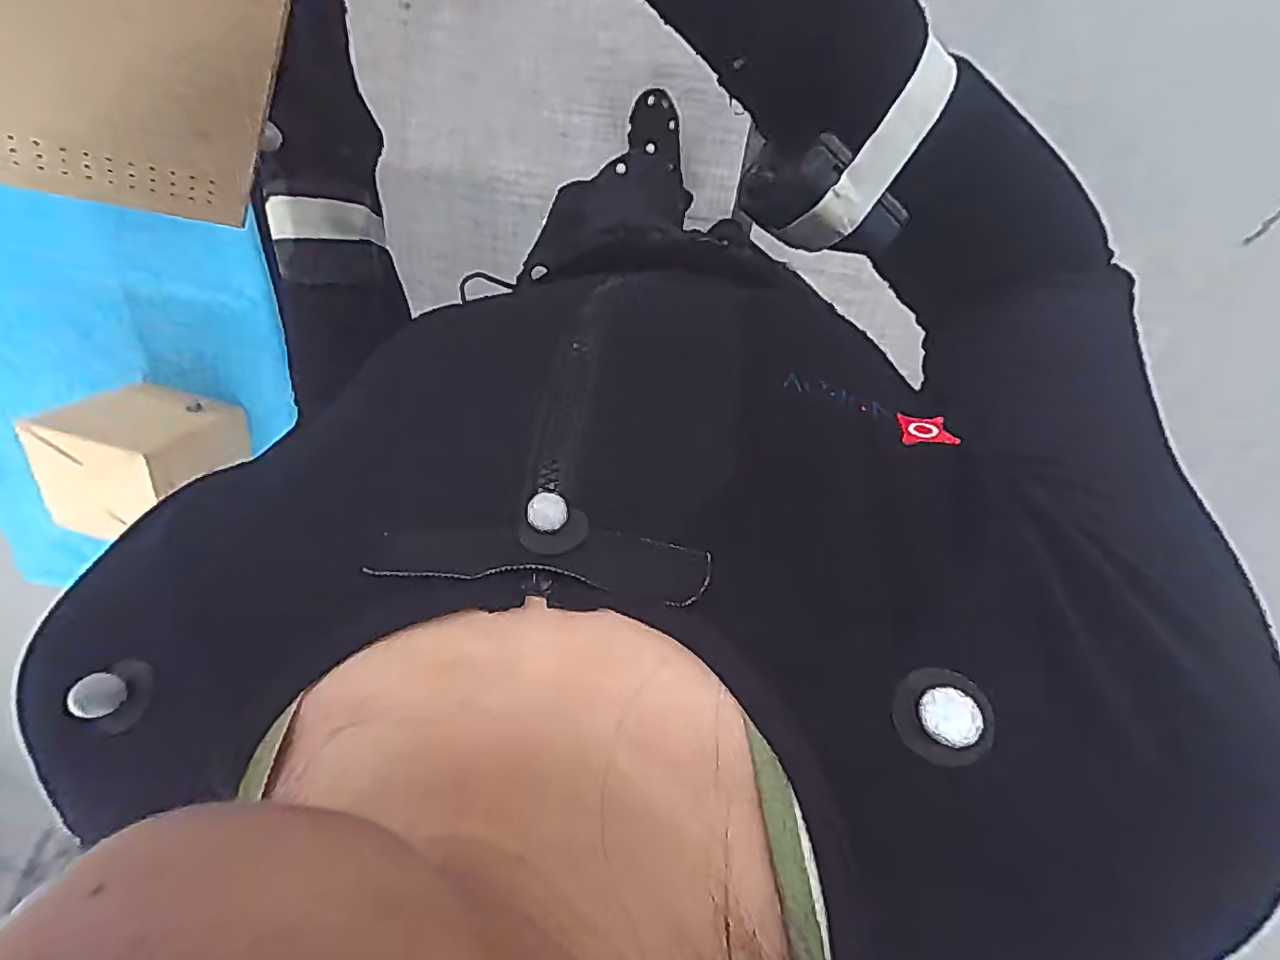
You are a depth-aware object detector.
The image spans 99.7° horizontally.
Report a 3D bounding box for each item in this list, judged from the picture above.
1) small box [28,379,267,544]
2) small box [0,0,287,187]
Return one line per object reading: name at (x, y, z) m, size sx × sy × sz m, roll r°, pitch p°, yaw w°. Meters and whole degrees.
small box at (-0.700, -0.028, 0.791) m, size 0.179 × 0.176 × 0.168 m, roll 14°, pitch 120°, yaw 2°
small box at (-0.217, -0.224, 0.157) m, size 0.176 × 0.179 × 0.168 m, roll -26°, pitch 77°, yaw 45°
